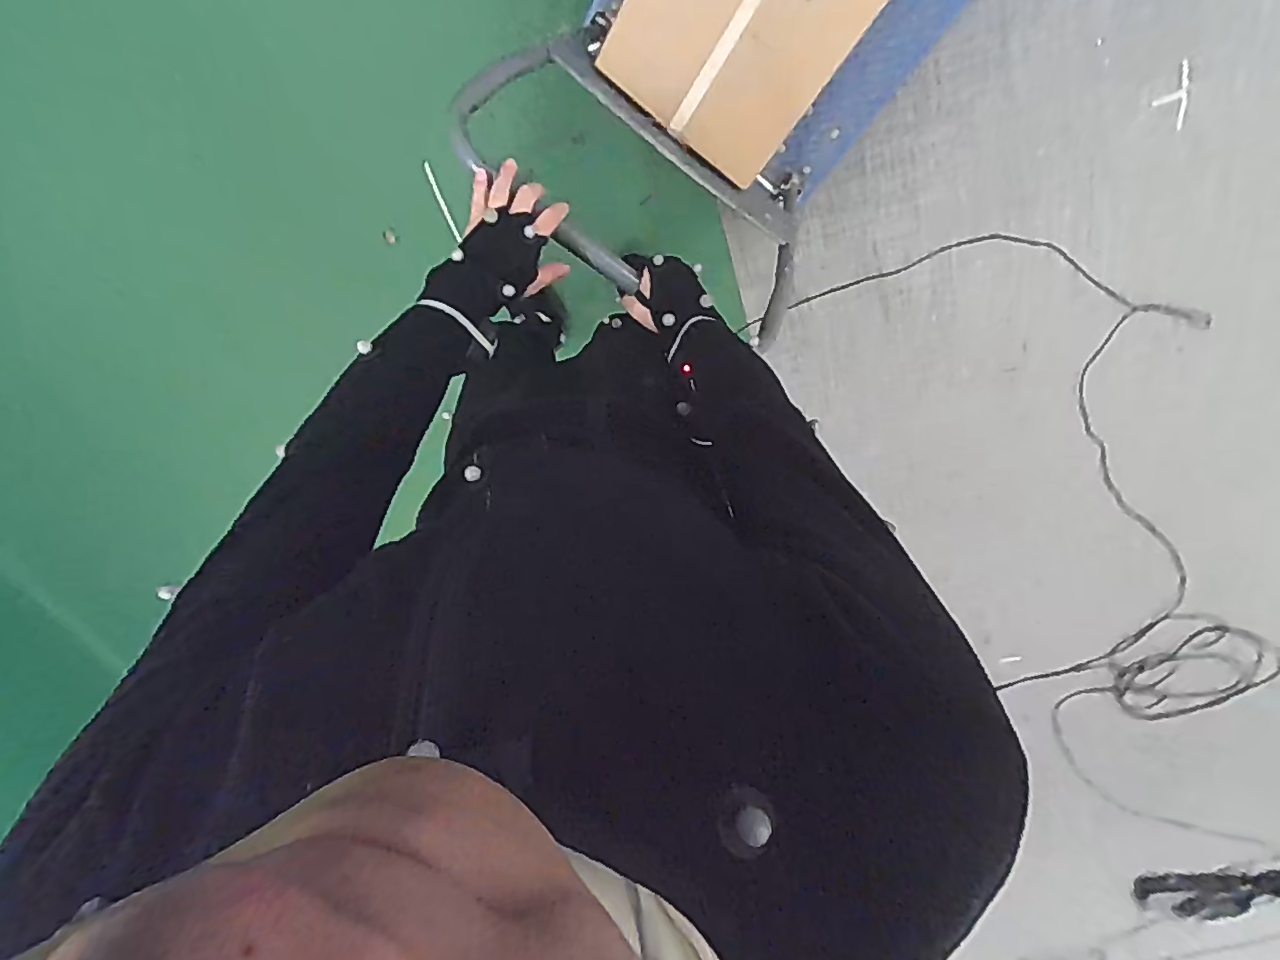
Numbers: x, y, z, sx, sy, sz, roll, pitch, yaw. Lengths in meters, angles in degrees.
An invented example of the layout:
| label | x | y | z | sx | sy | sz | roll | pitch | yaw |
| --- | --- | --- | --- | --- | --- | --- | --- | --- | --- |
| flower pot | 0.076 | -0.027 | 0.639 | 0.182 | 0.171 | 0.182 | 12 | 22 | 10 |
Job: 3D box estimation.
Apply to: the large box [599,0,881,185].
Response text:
| label | x | y | z | sx | sy | sz | roll | pitch | yaw |
| --- | --- | --- | --- | --- | --- | --- | --- | --- | --- |
| large box | 0.187 | -0.789 | 0.888 | 0.320 | 0.320 | 0.408 | 32 | 129 | -14 |
